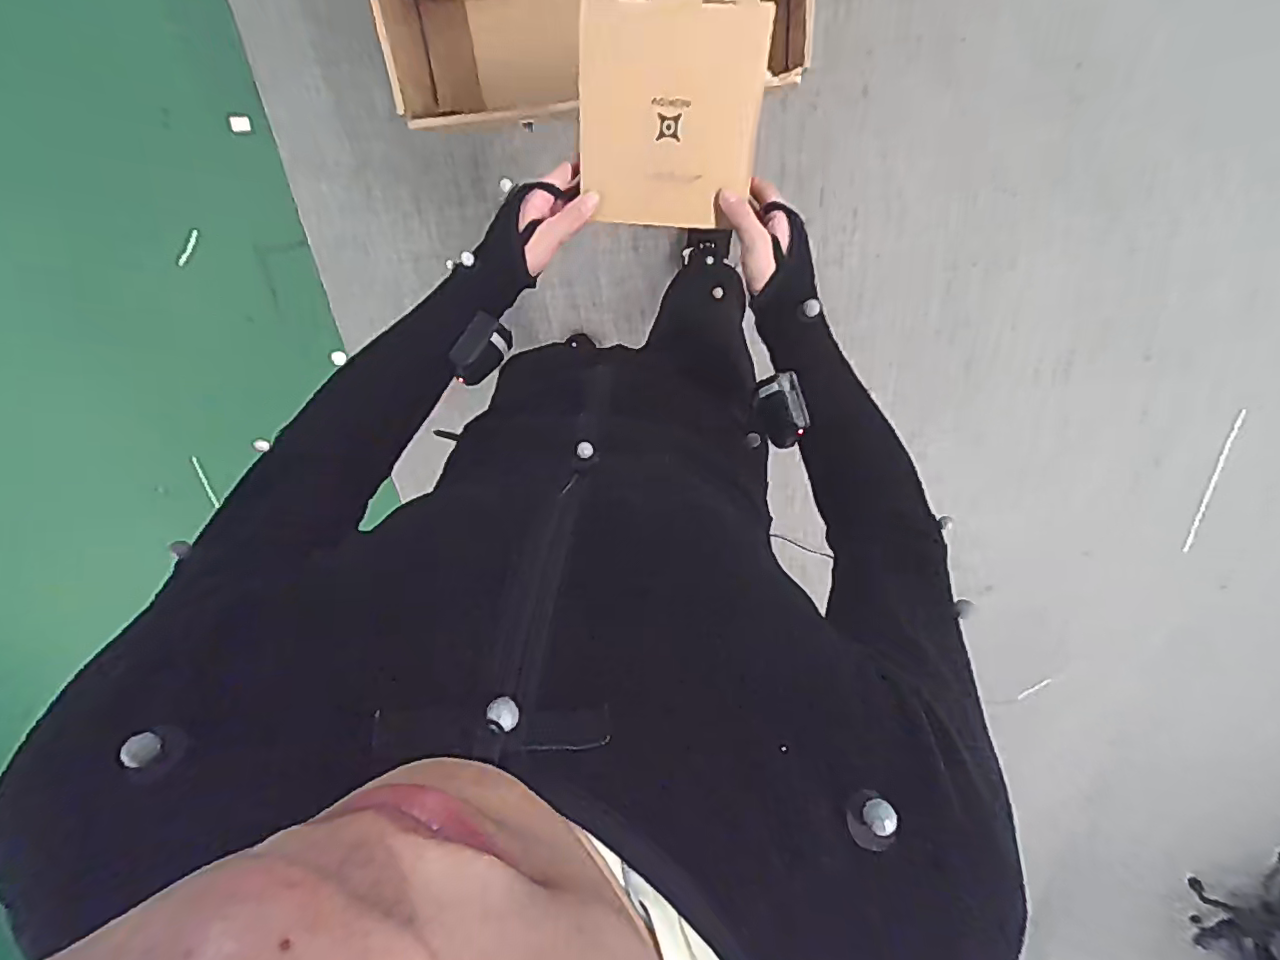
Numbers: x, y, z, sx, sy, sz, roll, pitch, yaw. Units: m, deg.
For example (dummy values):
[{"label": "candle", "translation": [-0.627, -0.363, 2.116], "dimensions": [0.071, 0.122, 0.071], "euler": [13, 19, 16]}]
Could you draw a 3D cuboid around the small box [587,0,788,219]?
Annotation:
[{"label": "small box", "translation": [0.037, -0.380, 0.554], "dimensions": [0.168, 0.176, 0.179], "euler": [4, 123, -1]}]
